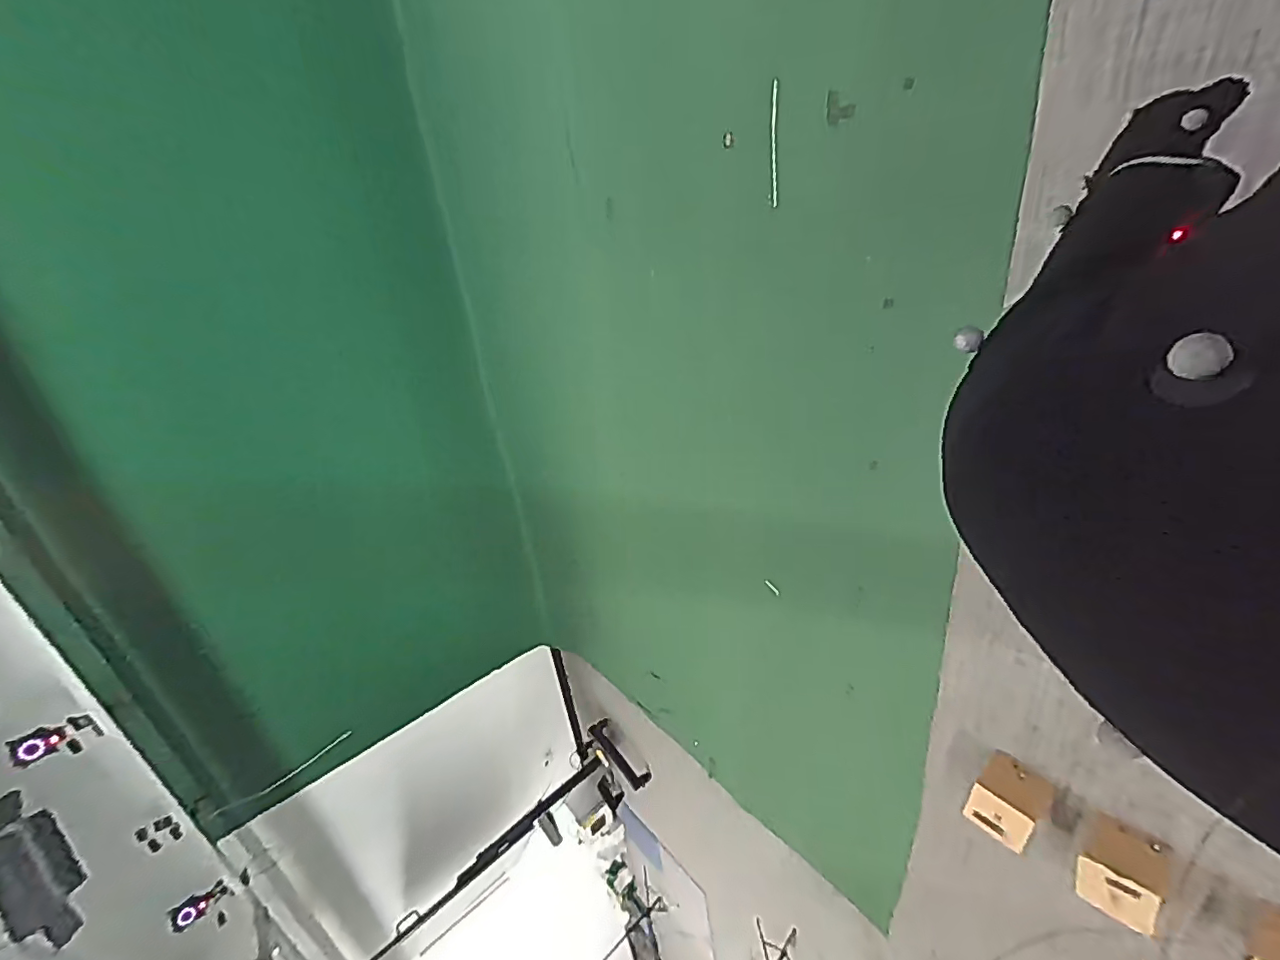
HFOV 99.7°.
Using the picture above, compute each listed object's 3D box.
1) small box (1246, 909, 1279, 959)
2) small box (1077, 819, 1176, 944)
[{"bbox_3d":[1.529,1.157,1.241,0.168,0.176,0.179,18,124,48],"label":"small box"},{"bbox_3d":[1.329,1.084,1.477,0.168,0.176,0.179,13,122,51],"label":"small box"}]
